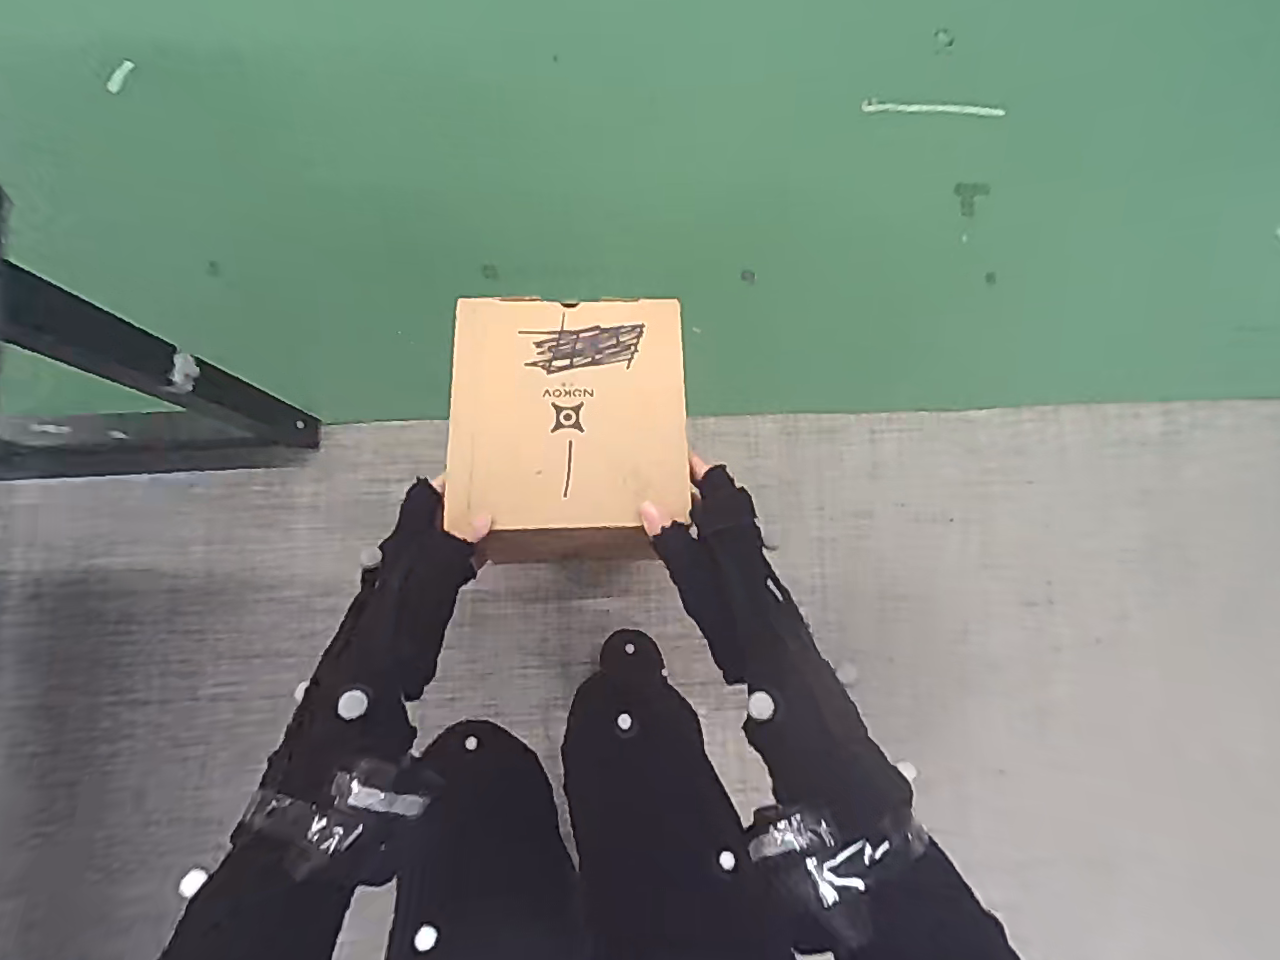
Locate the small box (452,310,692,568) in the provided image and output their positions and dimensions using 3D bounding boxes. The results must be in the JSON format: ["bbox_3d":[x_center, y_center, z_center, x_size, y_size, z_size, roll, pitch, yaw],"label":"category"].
[{"bbox_3d":[-0.050,-0.024,0.467,0.168,0.176,0.179,0,74,-2],"label":"small box"}]
